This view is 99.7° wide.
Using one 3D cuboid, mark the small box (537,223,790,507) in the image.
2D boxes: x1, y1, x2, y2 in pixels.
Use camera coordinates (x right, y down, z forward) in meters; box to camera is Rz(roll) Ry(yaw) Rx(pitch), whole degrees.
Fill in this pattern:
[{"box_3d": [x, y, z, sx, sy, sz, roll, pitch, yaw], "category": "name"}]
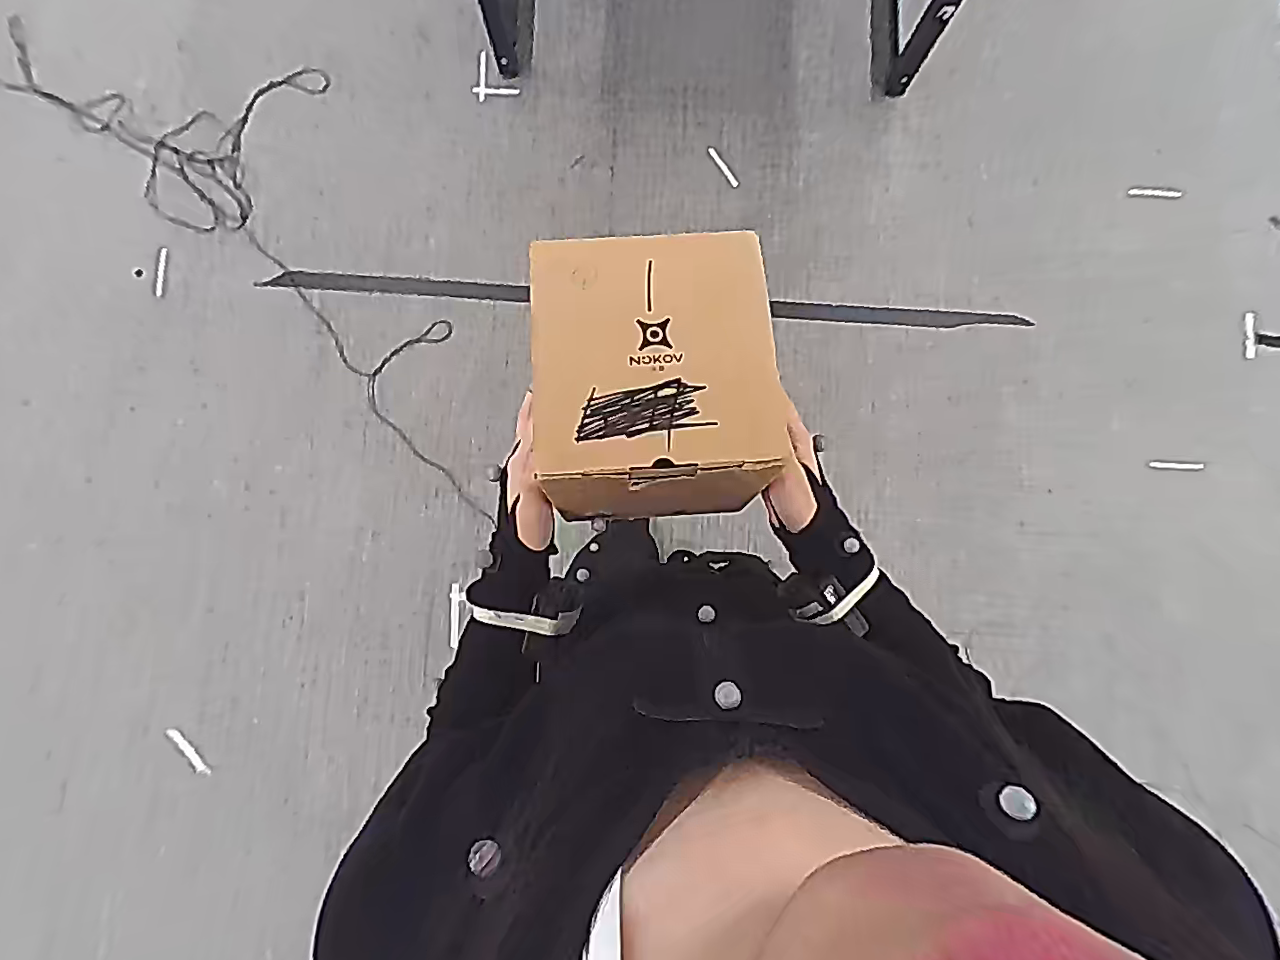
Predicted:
[{"box_3d": [0.013, -0.076, 0.442, 0.168, 0.176, 0.179, -3, 75, -1], "category": "small box"}]
